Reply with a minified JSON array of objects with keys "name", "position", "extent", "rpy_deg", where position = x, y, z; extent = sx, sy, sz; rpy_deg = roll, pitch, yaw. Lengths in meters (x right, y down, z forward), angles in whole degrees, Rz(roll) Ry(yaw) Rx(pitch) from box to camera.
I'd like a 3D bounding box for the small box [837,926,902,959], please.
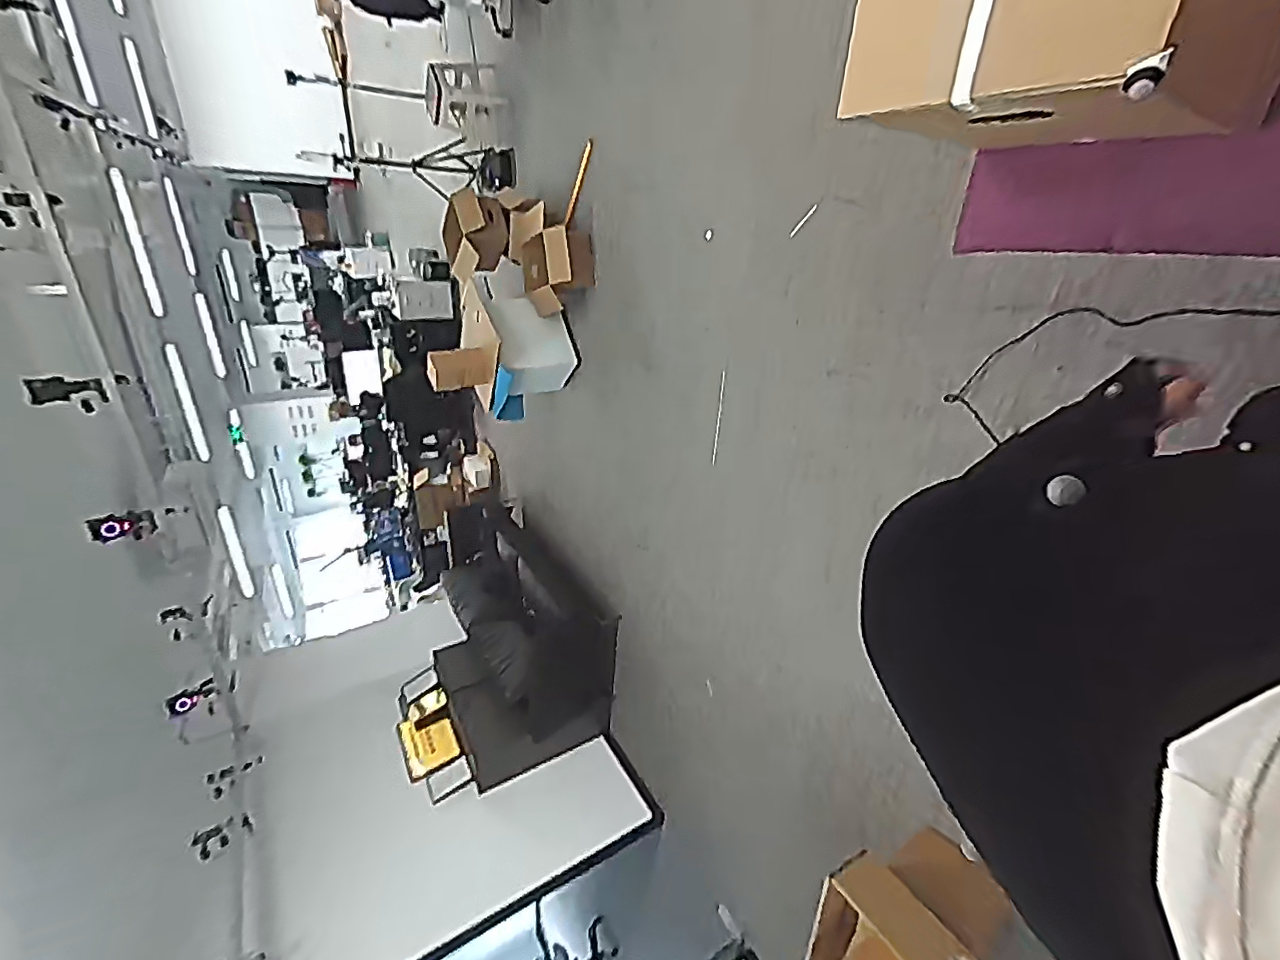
[{"name":"small box","position":[0.723,1.543,1.665],"extent":[0.179,0.176,0.168],"rpy_deg":[34,131,50]}]
